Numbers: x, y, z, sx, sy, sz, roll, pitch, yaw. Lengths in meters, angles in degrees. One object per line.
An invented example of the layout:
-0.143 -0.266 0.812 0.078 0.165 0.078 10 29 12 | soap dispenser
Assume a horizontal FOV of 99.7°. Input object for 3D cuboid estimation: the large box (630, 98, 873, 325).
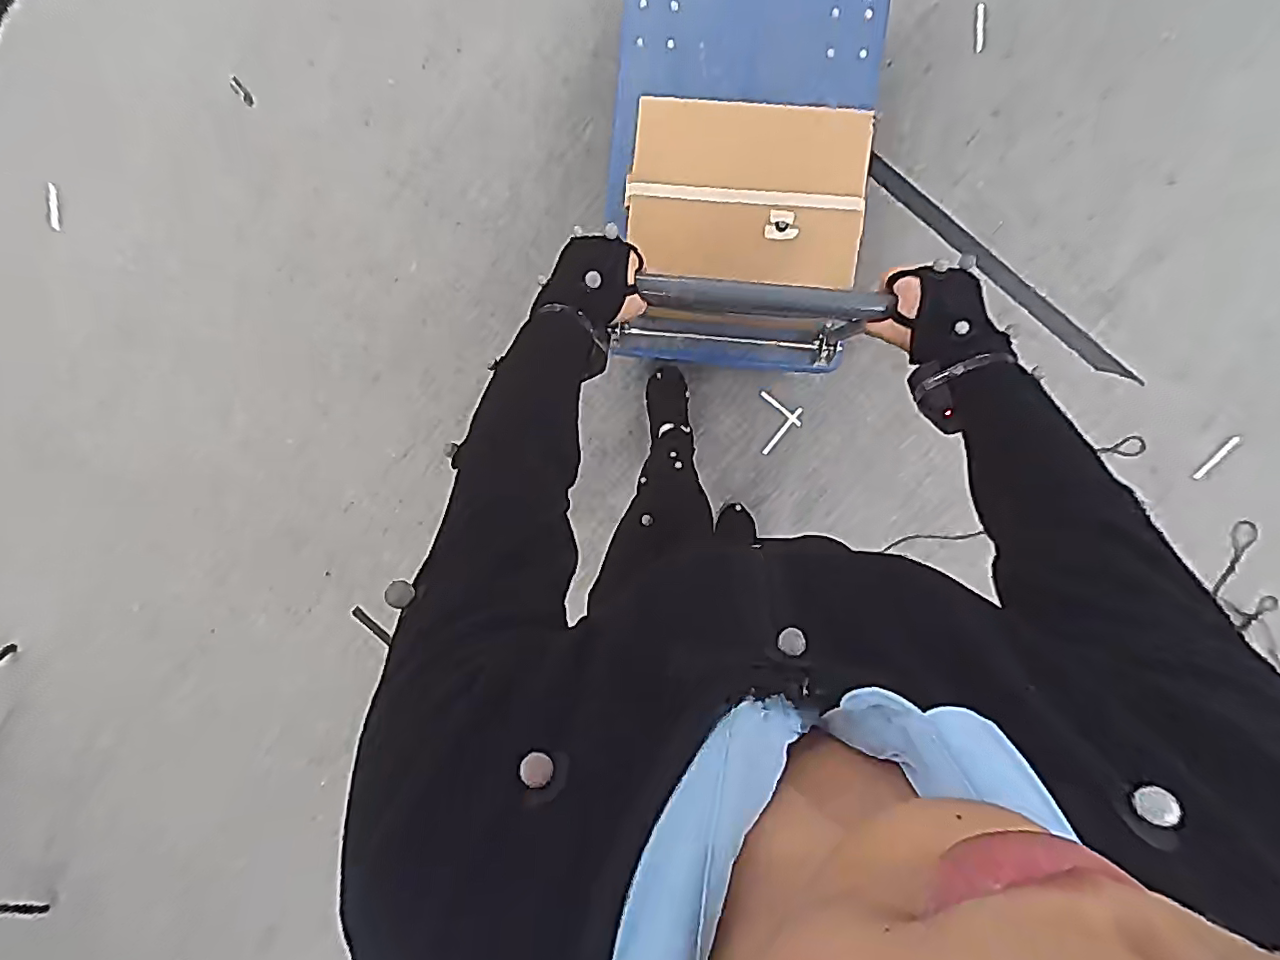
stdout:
0.196 -0.510 1.093 0.408 0.320 0.320 6 96 2 | large box
